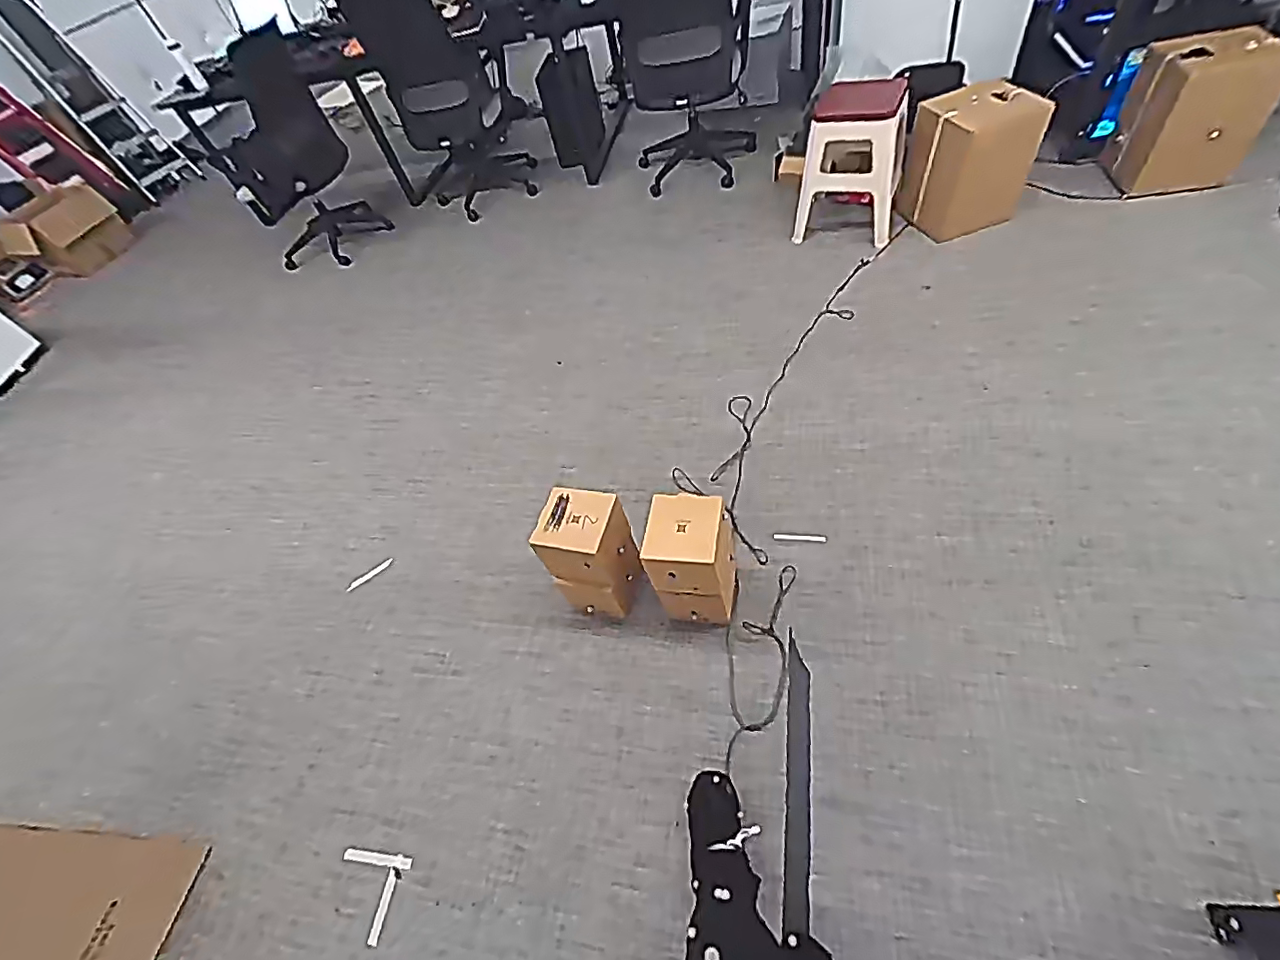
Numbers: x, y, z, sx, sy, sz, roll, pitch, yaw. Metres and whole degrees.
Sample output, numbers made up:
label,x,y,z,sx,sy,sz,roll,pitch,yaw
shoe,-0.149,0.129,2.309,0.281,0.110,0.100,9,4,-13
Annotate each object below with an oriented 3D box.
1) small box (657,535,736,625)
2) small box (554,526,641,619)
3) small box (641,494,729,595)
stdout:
label,x,y,z,sx,sy,sz,roll,pitch,yaw
small box,0.151,0.250,1.387,0.168,0.176,0.179,1,54,18
small box,-0.105,0.249,1.456,0.168,0.176,0.179,7,56,20
small box,0.114,0.153,1.262,0.168,0.176,0.179,1,53,17
